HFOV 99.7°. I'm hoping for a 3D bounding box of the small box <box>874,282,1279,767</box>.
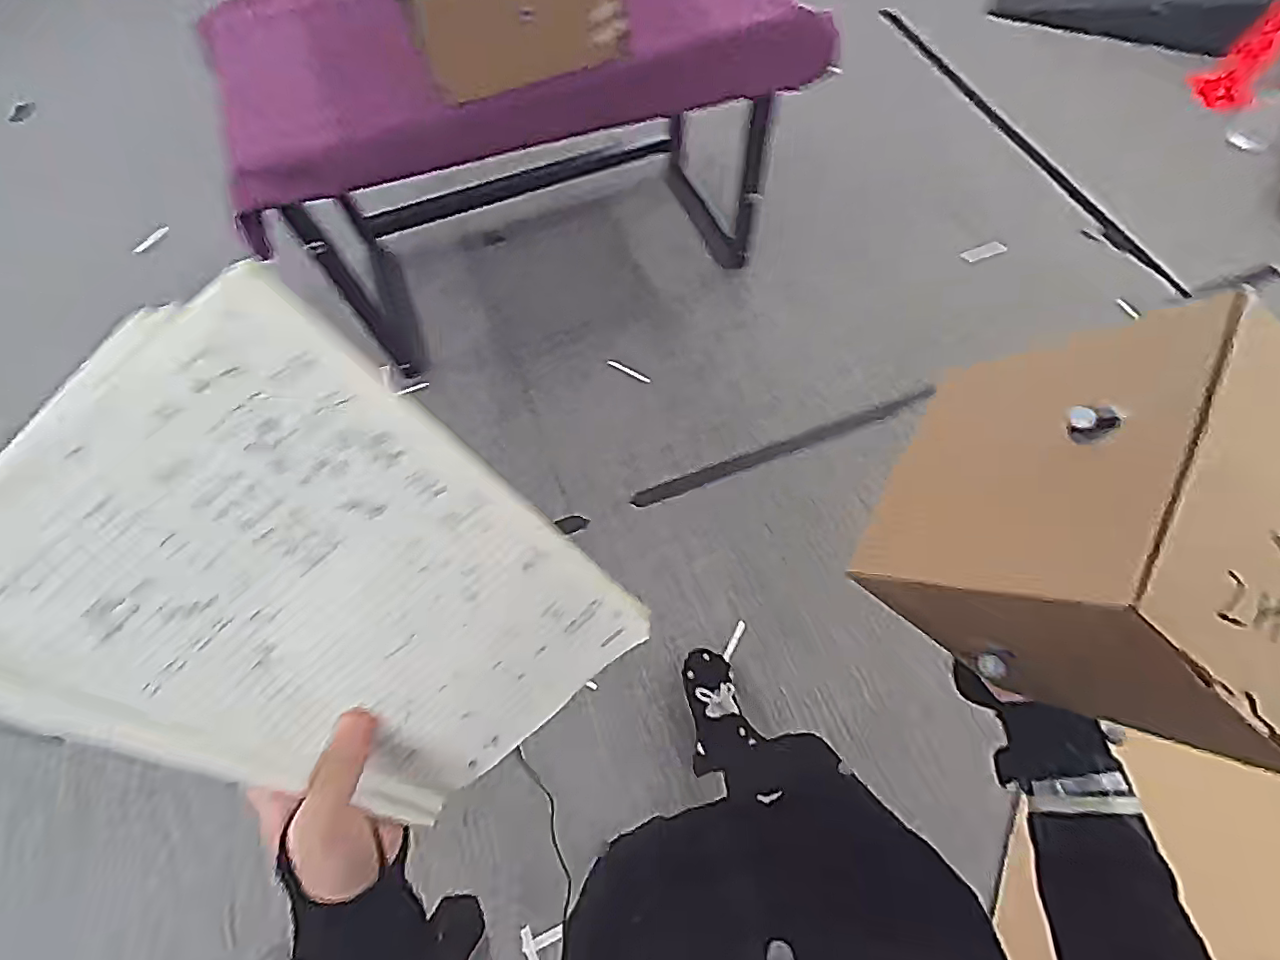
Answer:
[{"bbox_3d":[0.277,0.029,0.320,0.168,0.176,0.179,36,76,-12],"label":"small box"}]
